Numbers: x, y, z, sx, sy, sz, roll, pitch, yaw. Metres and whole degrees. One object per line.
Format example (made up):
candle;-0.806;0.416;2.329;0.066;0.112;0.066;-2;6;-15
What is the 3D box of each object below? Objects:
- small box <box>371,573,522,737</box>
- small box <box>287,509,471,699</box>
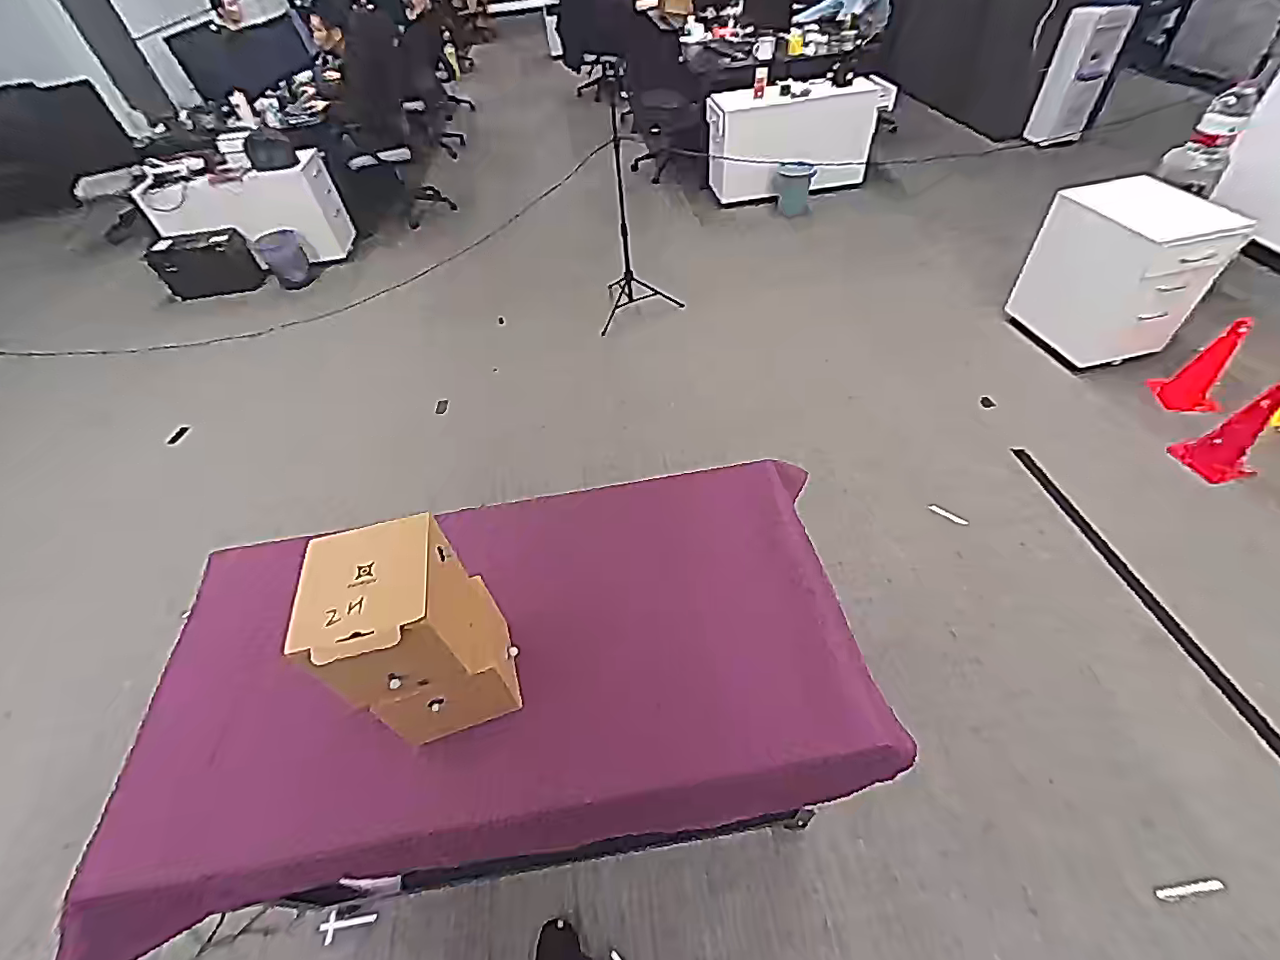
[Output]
small box;-0.304;0.282;0.863;0.179;0.176;0.168;-16;49;-9
small box;-0.340;0.171;0.744;0.168;0.176;0.179;-13;48;-5
